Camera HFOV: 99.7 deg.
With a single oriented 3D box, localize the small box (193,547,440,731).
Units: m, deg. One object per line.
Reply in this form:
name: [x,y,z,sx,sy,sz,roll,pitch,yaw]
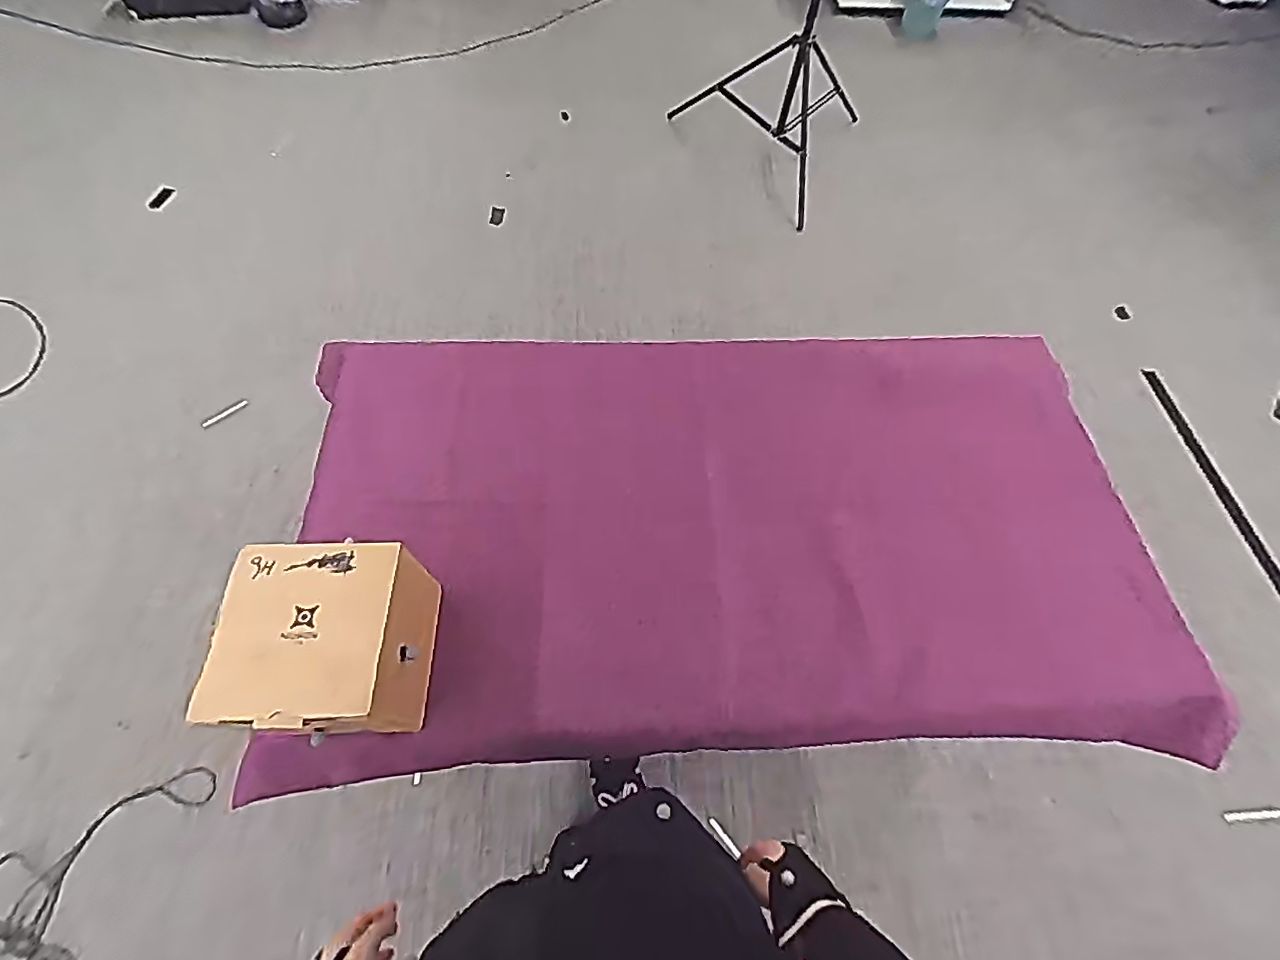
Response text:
small box: [-0.336,0.185,0.608,0.168,0.176,0.179,0,63,-4]
